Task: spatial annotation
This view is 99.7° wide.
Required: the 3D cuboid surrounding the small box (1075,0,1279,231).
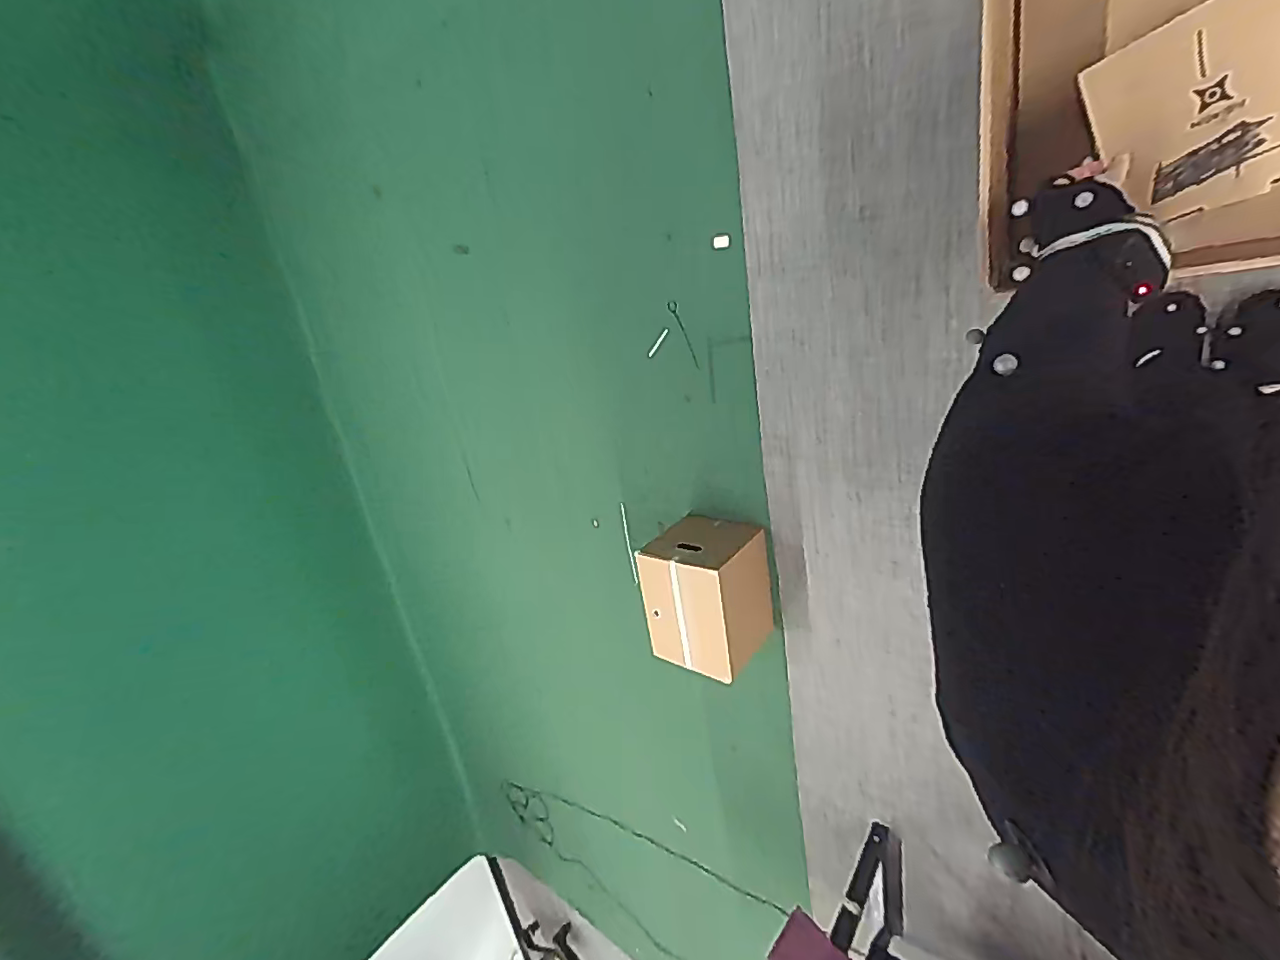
[{"bbox_3d":[0.581,-0.384,0.560,0.168,0.176,0.179,-16,97,44],"label":"small box"}]
